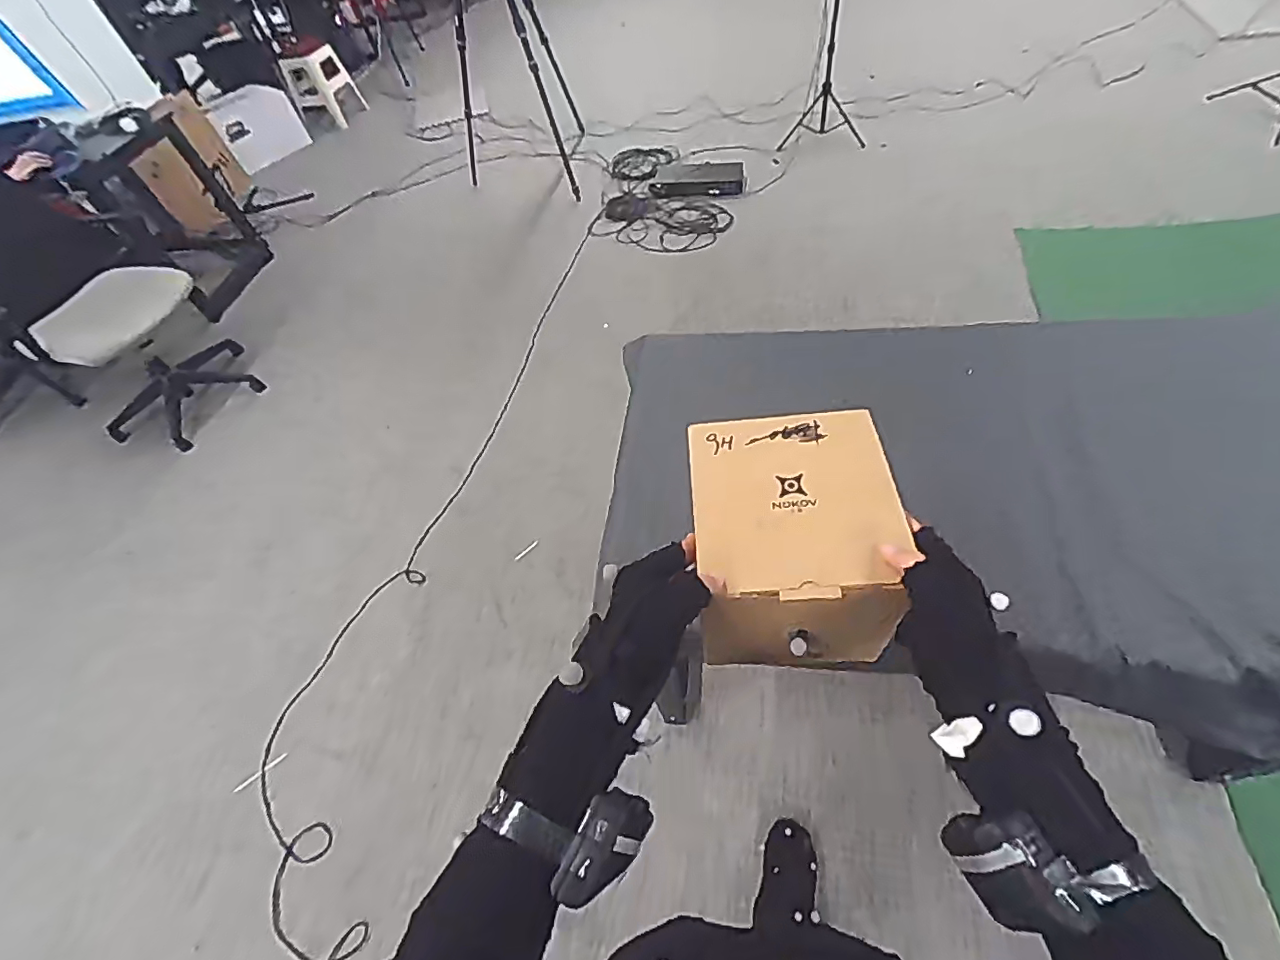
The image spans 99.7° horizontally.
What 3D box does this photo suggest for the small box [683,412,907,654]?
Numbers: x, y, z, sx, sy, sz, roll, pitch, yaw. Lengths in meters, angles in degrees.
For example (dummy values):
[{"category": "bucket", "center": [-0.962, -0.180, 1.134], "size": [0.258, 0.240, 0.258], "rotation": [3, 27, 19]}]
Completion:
[{"category": "small box", "center": [0.133, 0.061, 0.522], "size": [0.168, 0.176, 0.179], "rotation": [-5, 55, 7]}]
